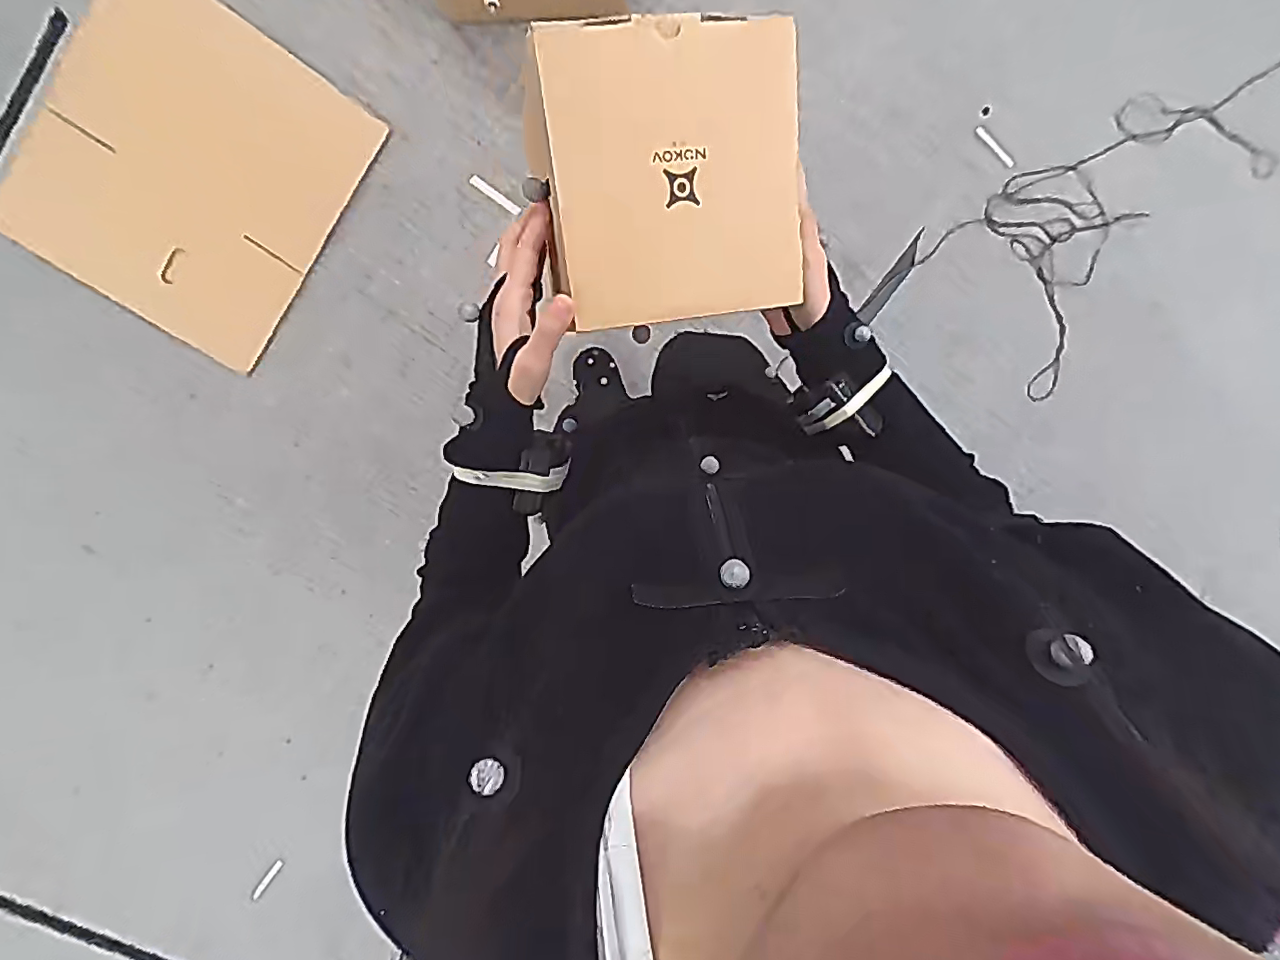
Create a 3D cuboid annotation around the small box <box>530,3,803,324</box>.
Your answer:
[{"bbox_3d":[0.010,-0.218,0.419,0.168,0.176,0.179,-10,106,-10],"label":"small box"}]
